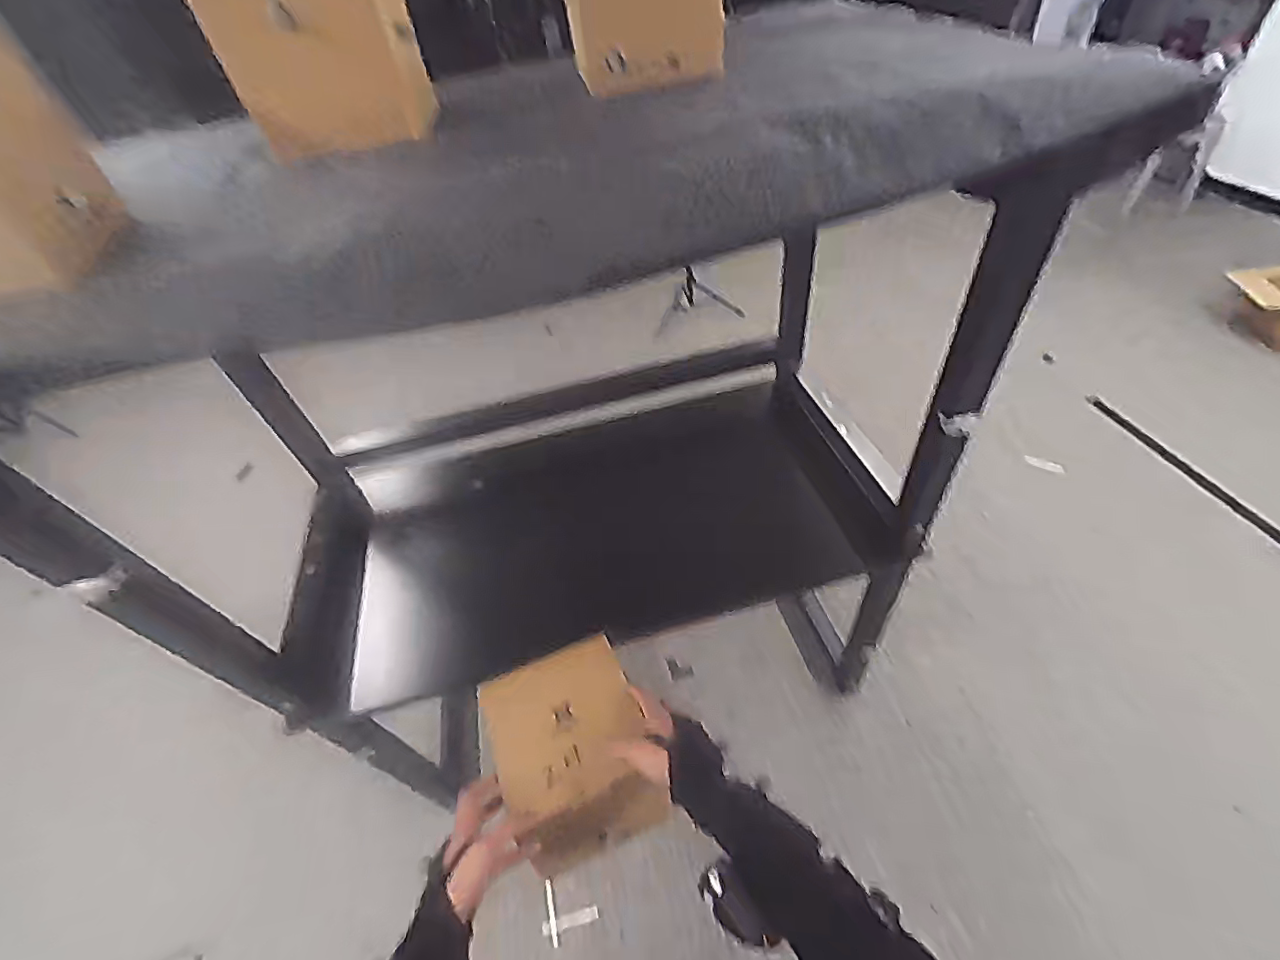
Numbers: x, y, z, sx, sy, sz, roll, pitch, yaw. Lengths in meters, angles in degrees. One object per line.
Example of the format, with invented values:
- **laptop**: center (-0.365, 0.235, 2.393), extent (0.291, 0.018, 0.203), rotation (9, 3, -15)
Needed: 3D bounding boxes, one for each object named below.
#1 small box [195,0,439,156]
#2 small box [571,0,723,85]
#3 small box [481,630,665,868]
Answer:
- **small box**: center (-0.349, -0.499, 0.617), extent (0.179, 0.176, 0.168), rotation (-11, 48, 0)
- **small box**: center (0.001, -0.602, 0.654), extent (0.168, 0.176, 0.179), rotation (-12, 47, -2)
- **small box**: center (-0.080, 0.324, 0.658), extent (0.168, 0.176, 0.179), rotation (-19, 42, -14)
